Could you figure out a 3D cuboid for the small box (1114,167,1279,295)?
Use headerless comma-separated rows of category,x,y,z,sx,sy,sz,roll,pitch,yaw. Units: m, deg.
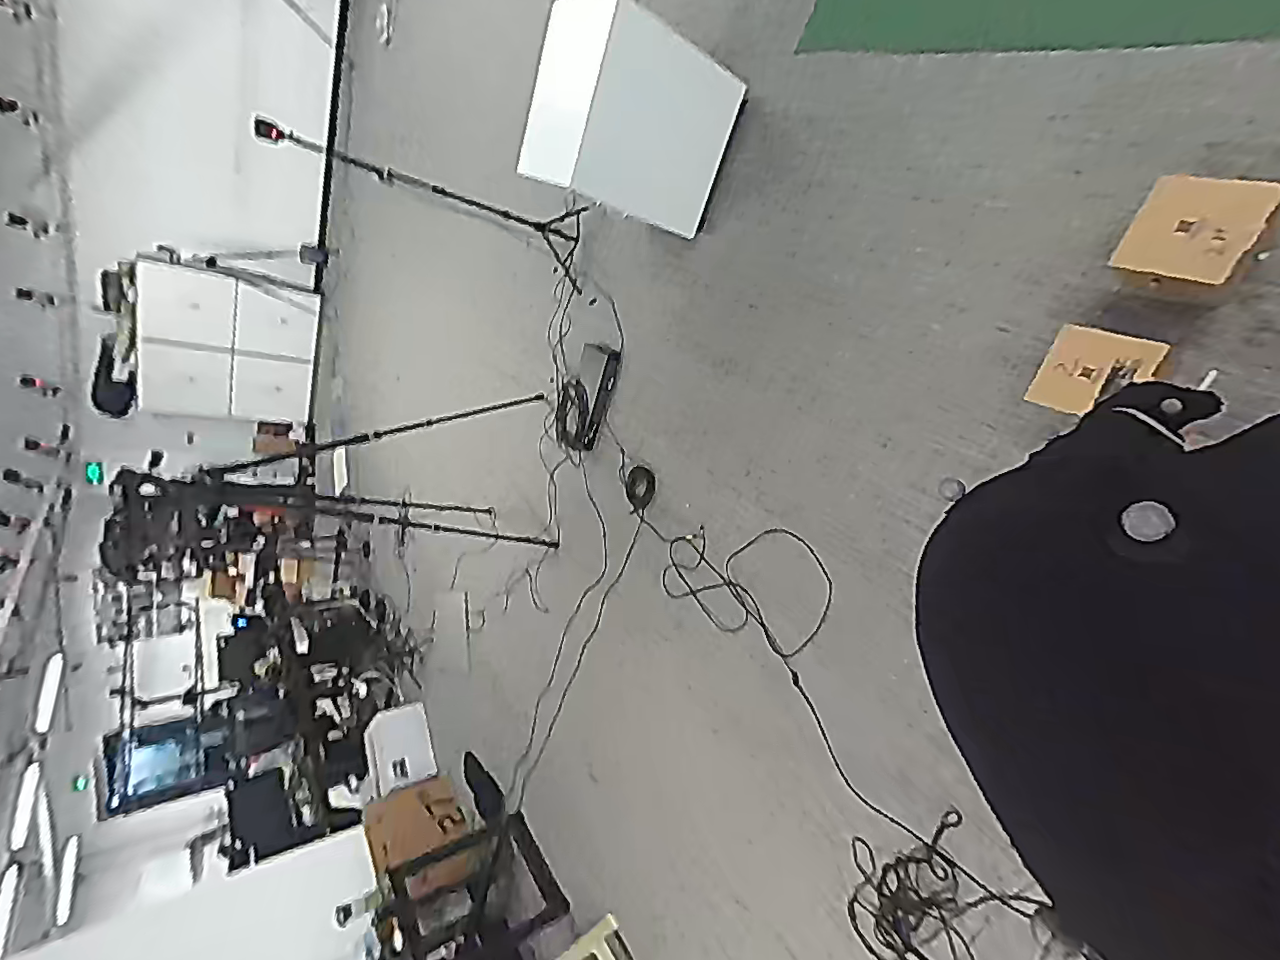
small box,1.053,-0.462,1.016,0.179,0.176,0.168,40,119,42
